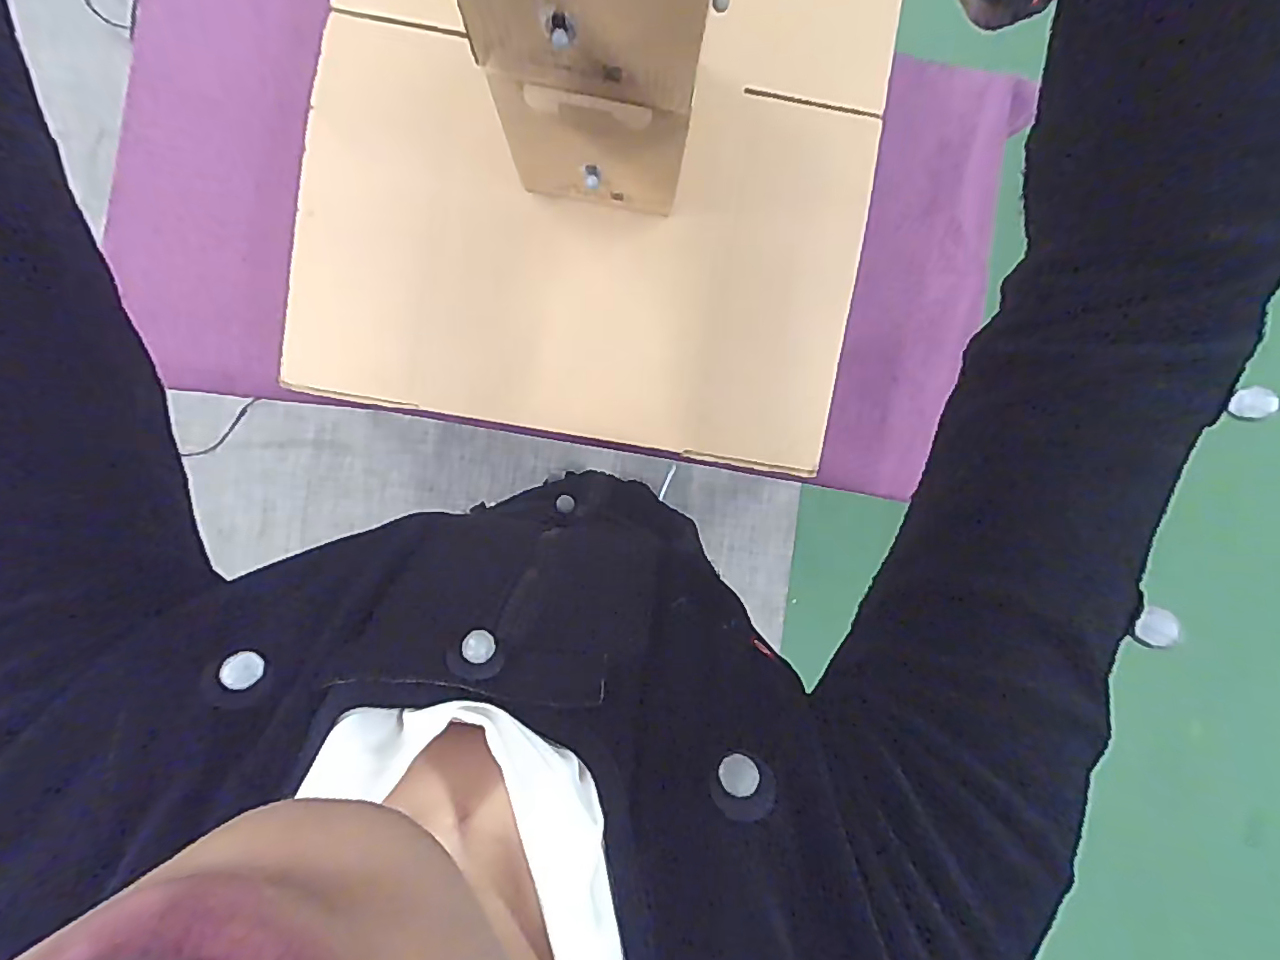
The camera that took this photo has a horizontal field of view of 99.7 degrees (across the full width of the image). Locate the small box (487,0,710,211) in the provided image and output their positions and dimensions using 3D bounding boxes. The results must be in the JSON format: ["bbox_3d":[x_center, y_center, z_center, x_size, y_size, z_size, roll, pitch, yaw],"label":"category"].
[{"bbox_3d":[-0.029,-0.390,0.505,0.168,0.176,0.179,10,89,-2],"label":"small box"}]

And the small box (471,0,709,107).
[{"bbox_3d":[-0.024,-0.390,0.342,0.168,0.176,0.179,10,89,-3],"label":"small box"}]
